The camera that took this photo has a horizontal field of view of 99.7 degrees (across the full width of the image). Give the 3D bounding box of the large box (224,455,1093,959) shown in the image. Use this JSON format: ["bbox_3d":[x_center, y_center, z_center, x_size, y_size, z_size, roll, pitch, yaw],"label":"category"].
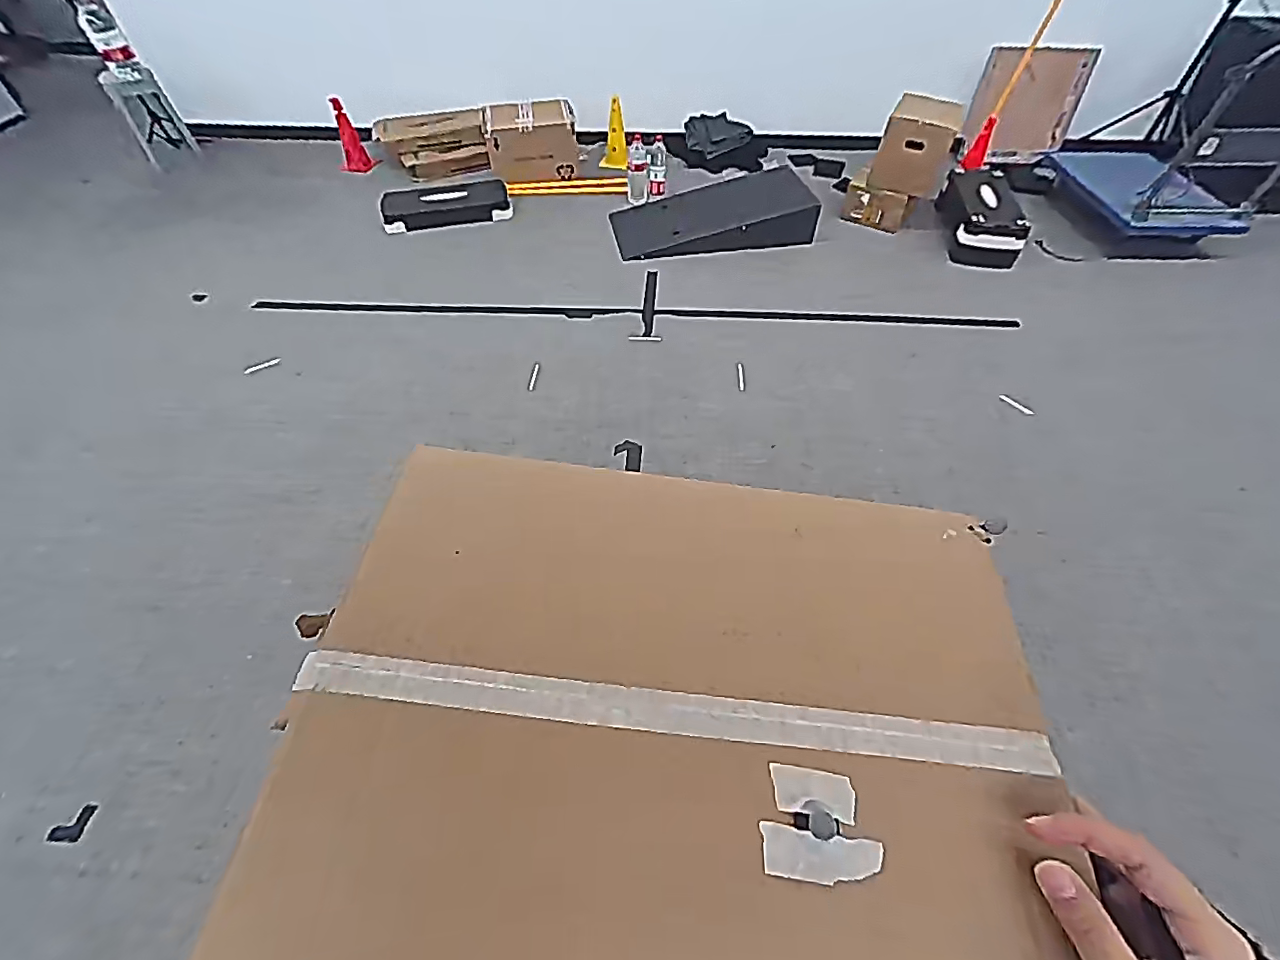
[{"bbox_3d":[0.014,0.213,0.429,0.408,0.320,0.320,8,56,-1],"label":"large box"}]
